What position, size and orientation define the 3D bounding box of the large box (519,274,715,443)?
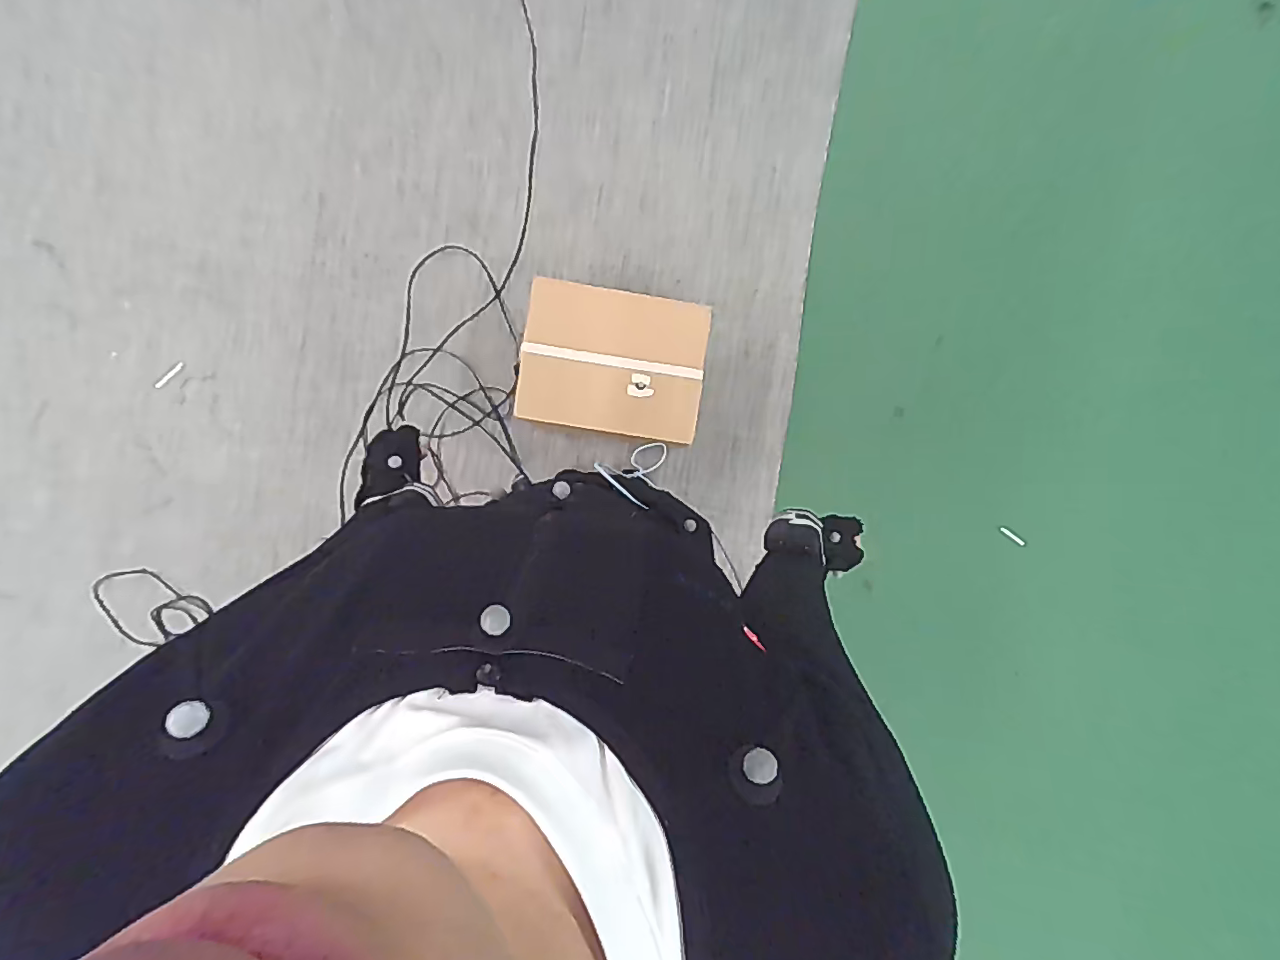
[{"bbox_3d":[-0.060,-0.275,1.336,0.408,0.320,0.320,9,91,-4],"label":"large box"}]
